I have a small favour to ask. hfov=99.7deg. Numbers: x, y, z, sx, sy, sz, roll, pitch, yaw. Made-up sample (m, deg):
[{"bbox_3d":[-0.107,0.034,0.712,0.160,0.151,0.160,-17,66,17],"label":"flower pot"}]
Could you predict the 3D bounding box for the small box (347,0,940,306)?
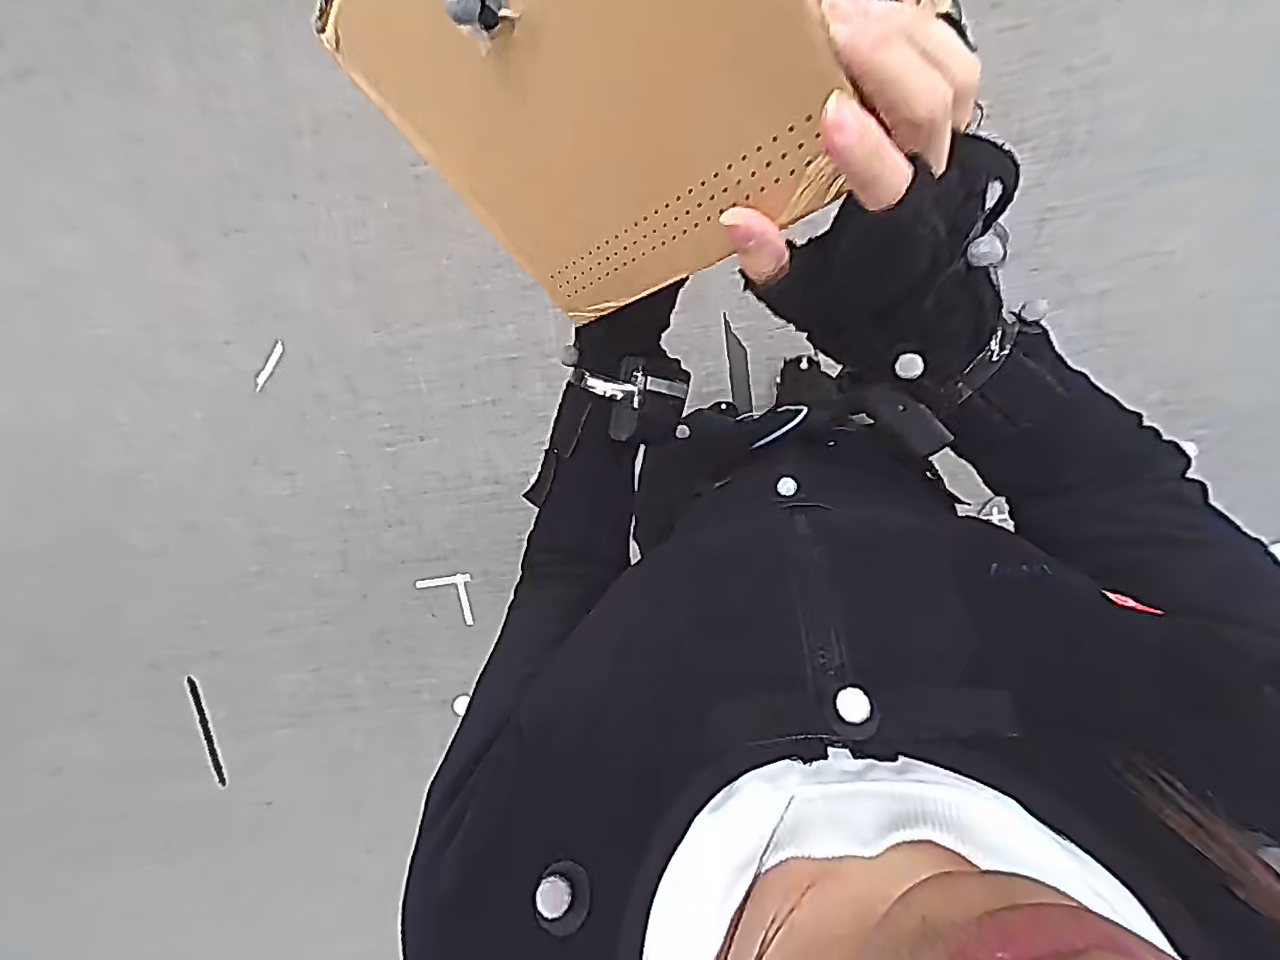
[{"bbox_3d":[0.008,-0.212,0.254,0.176,0.179,0.168,44,60,-31],"label":"small box"}]
